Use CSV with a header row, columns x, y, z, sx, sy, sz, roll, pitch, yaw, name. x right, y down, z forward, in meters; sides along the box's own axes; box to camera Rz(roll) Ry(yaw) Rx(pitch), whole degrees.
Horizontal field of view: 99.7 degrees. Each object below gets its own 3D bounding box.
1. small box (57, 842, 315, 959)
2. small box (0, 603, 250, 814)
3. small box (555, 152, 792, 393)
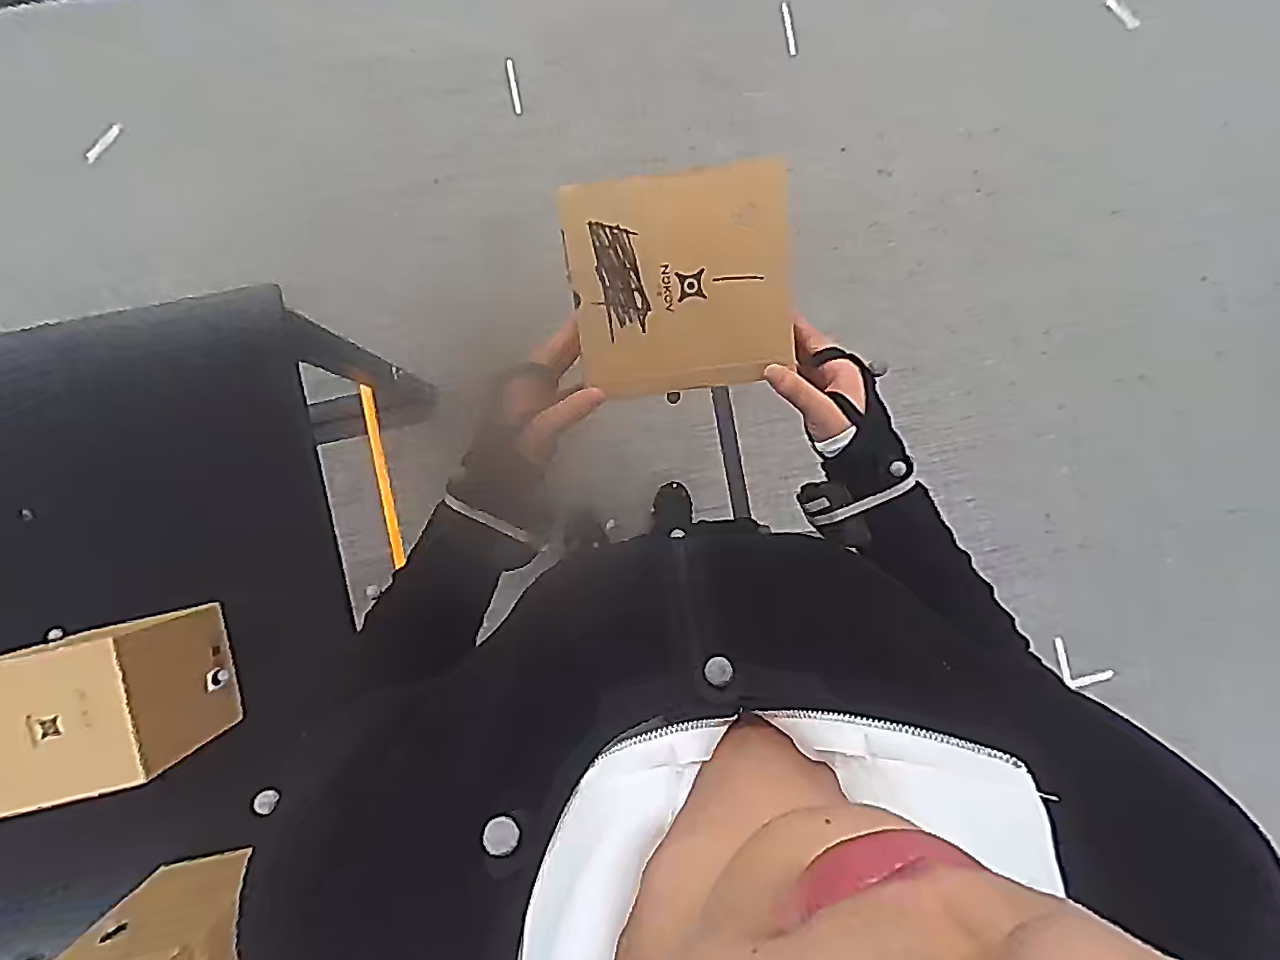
x,y,z,sx,sy,sz,roll,pitch,yaw,name
-0.543,0.590,0.665,0.179,0.176,0.168,-11,90,-3,small box
-0.636,0.265,0.665,0.179,0.176,0.168,-13,91,-4,small box
0.030,-0.177,0.503,0.179,0.176,0.168,-7,105,2,small box
